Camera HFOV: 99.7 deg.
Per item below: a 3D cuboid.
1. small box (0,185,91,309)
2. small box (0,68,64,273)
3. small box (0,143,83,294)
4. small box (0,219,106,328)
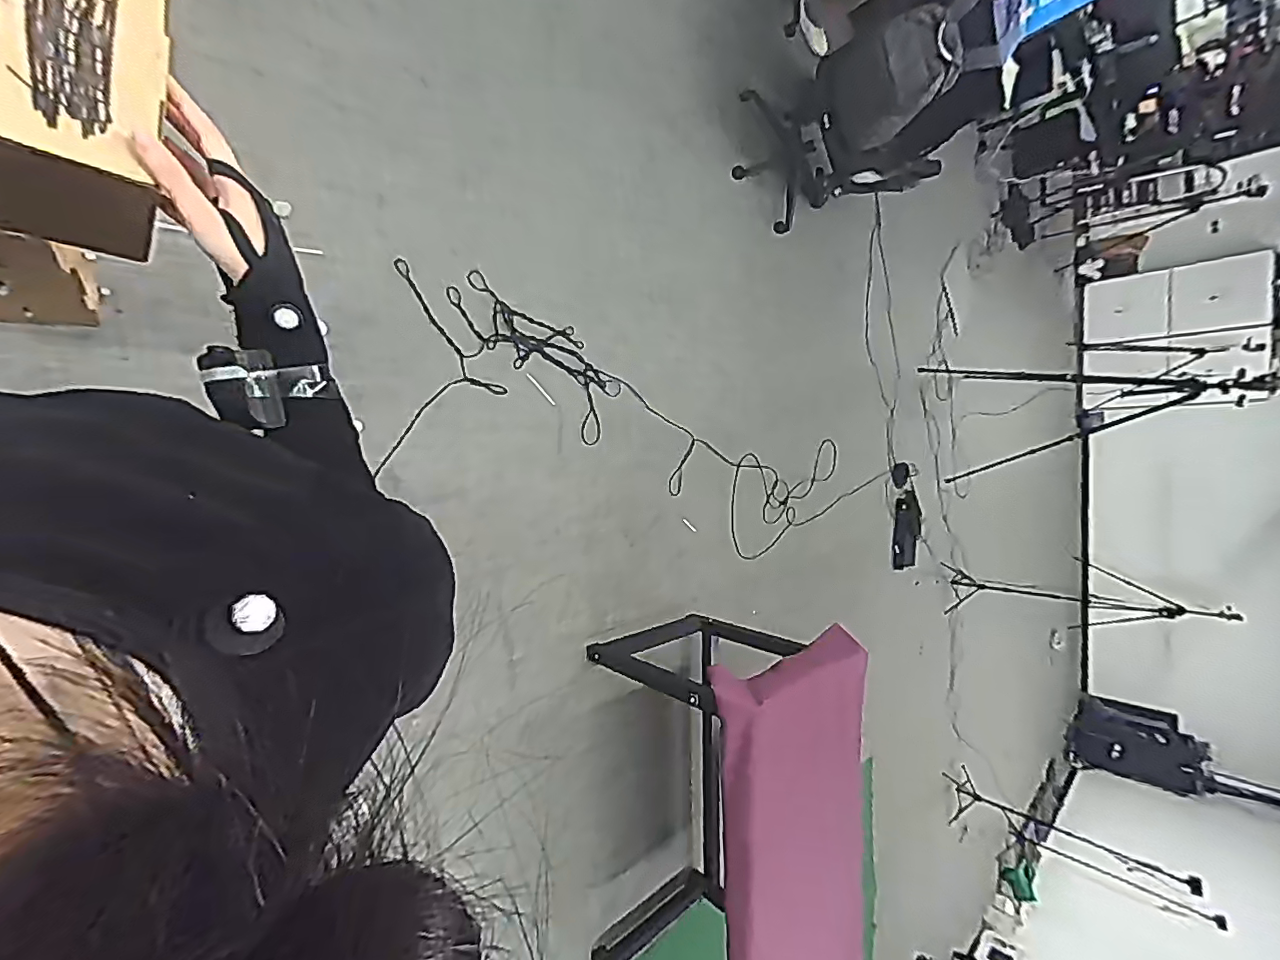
[{"bbox_3d":[-0.996,-0.374,0.843,0.179,0.176,0.168,-6,96,-42],"label":"small box"},{"bbox_3d":[-0.778,-0.350,0.600,0.168,0.176,0.179,-9,98,-41],"label":"small box"},{"bbox_3d":[-0.883,-0.356,0.726,0.179,0.176,0.168,-9,97,-42],"label":"small box"},{"bbox_3d":[-1.097,-0.377,0.972,0.179,0.176,0.168,-6,95,-42],"label":"small box"}]
